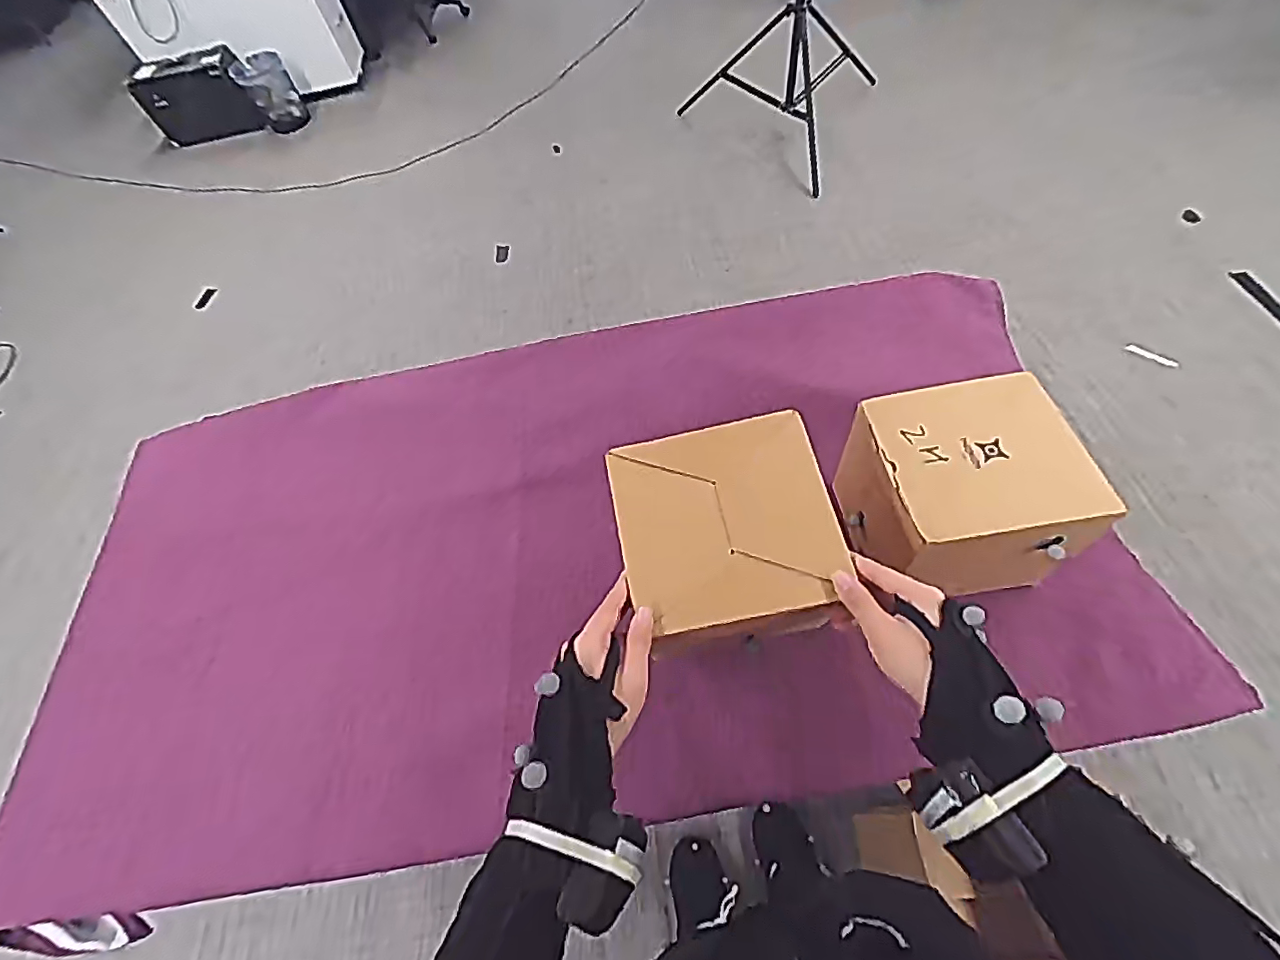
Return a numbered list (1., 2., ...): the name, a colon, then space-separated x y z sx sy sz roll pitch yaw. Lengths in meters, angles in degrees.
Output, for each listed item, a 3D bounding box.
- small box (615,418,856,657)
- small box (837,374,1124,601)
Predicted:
1. small box: 0.079 0.060 0.519 0.179 0.176 0.168 -12 65 2
2. small box: 0.331 0.015 0.574 0.179 0.176 0.168 -9 57 3
